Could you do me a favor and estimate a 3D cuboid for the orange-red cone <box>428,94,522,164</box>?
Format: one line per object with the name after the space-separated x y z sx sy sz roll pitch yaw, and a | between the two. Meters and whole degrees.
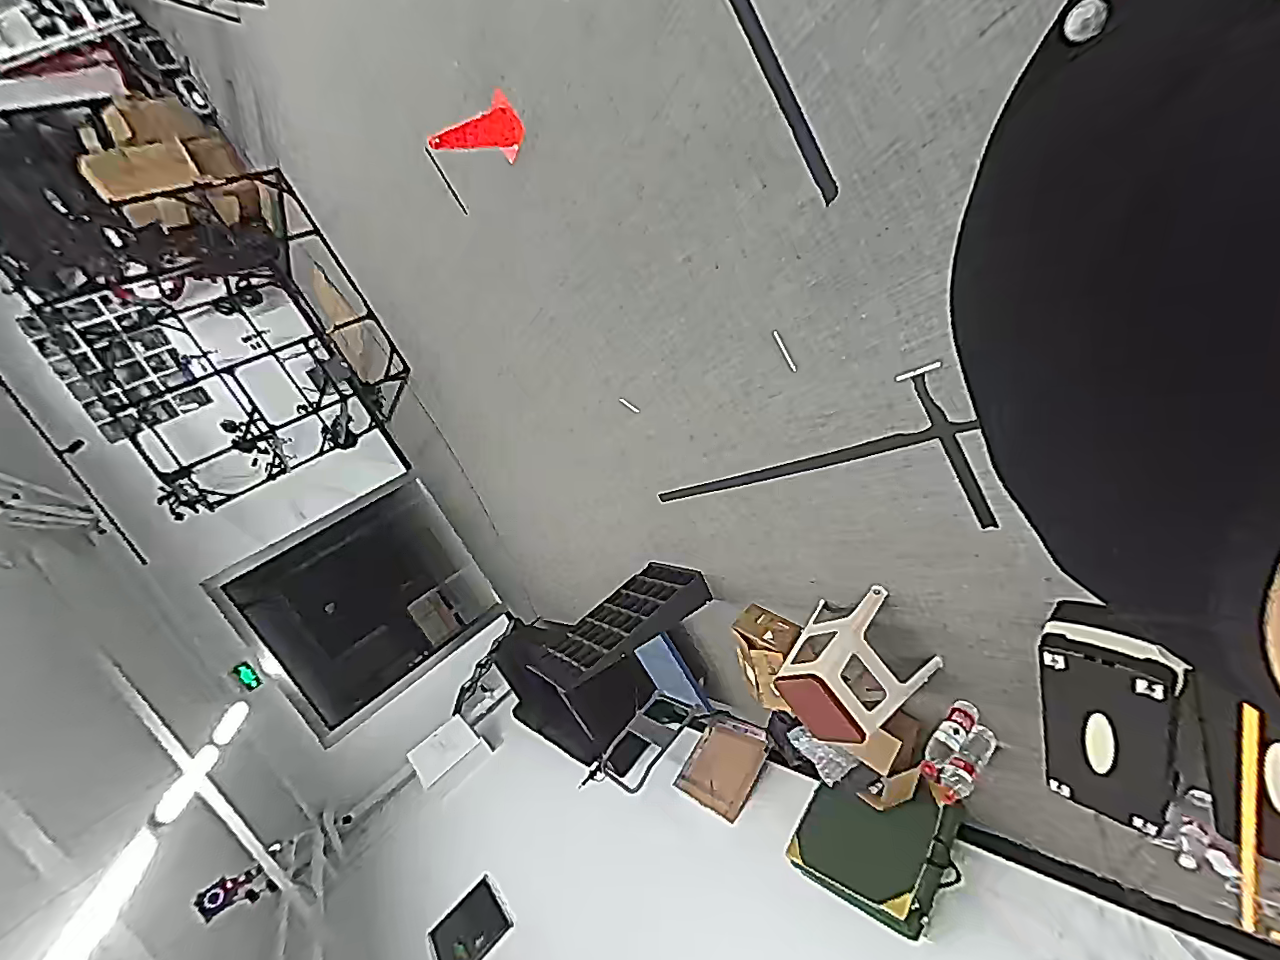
-0.691 -1.382 2.189 0.199 0.360 0.198 56 151 -5 | orange-red cone
